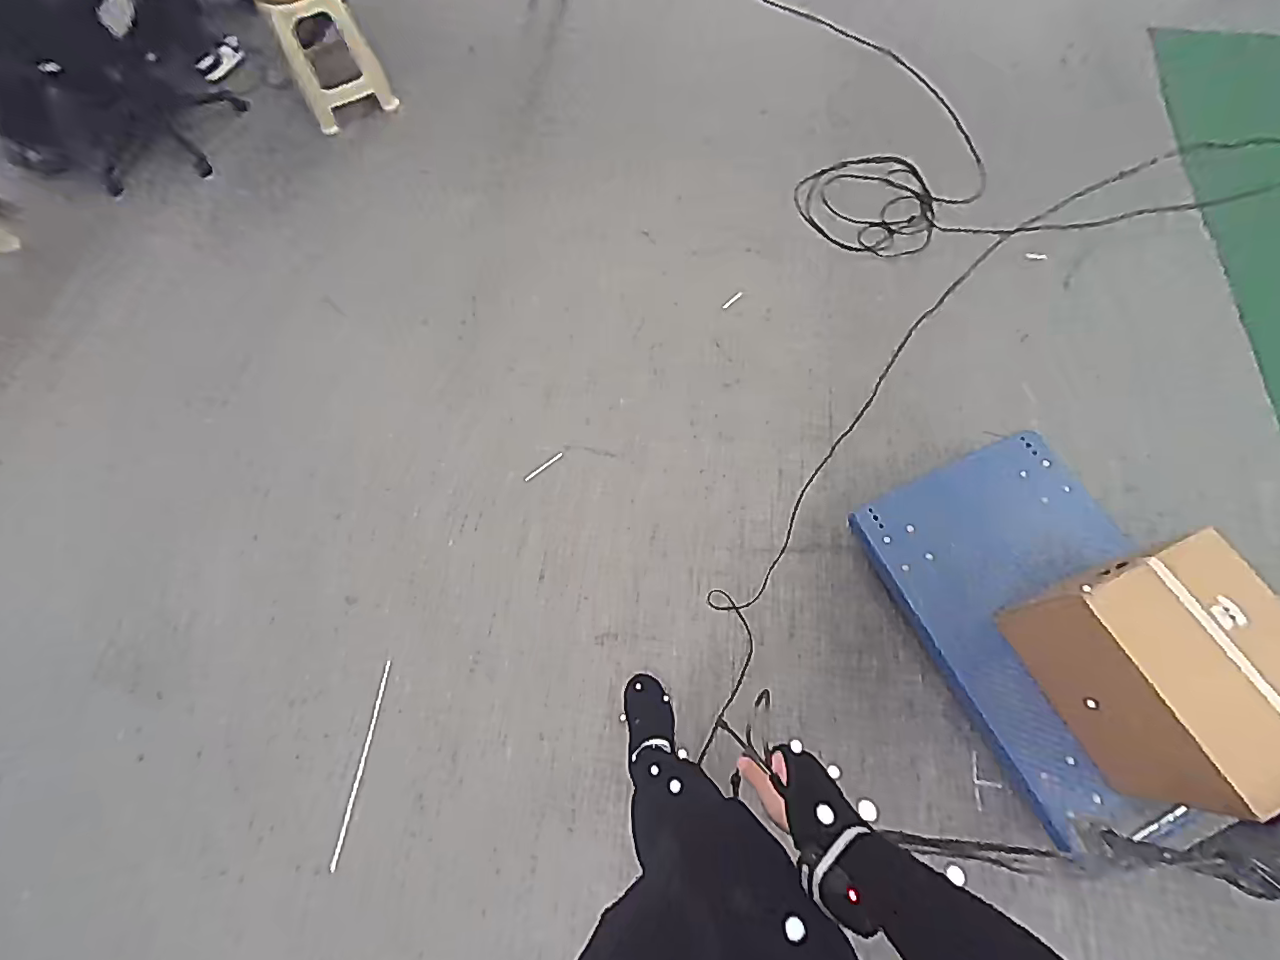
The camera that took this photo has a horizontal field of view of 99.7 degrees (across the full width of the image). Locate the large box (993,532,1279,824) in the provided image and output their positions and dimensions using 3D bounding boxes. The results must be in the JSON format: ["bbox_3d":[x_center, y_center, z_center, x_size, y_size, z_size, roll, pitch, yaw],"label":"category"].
[{"bbox_3d":[1.032,0.380,1.078,0.320,0.320,0.408,-23,67,-7],"label":"large box"}]
